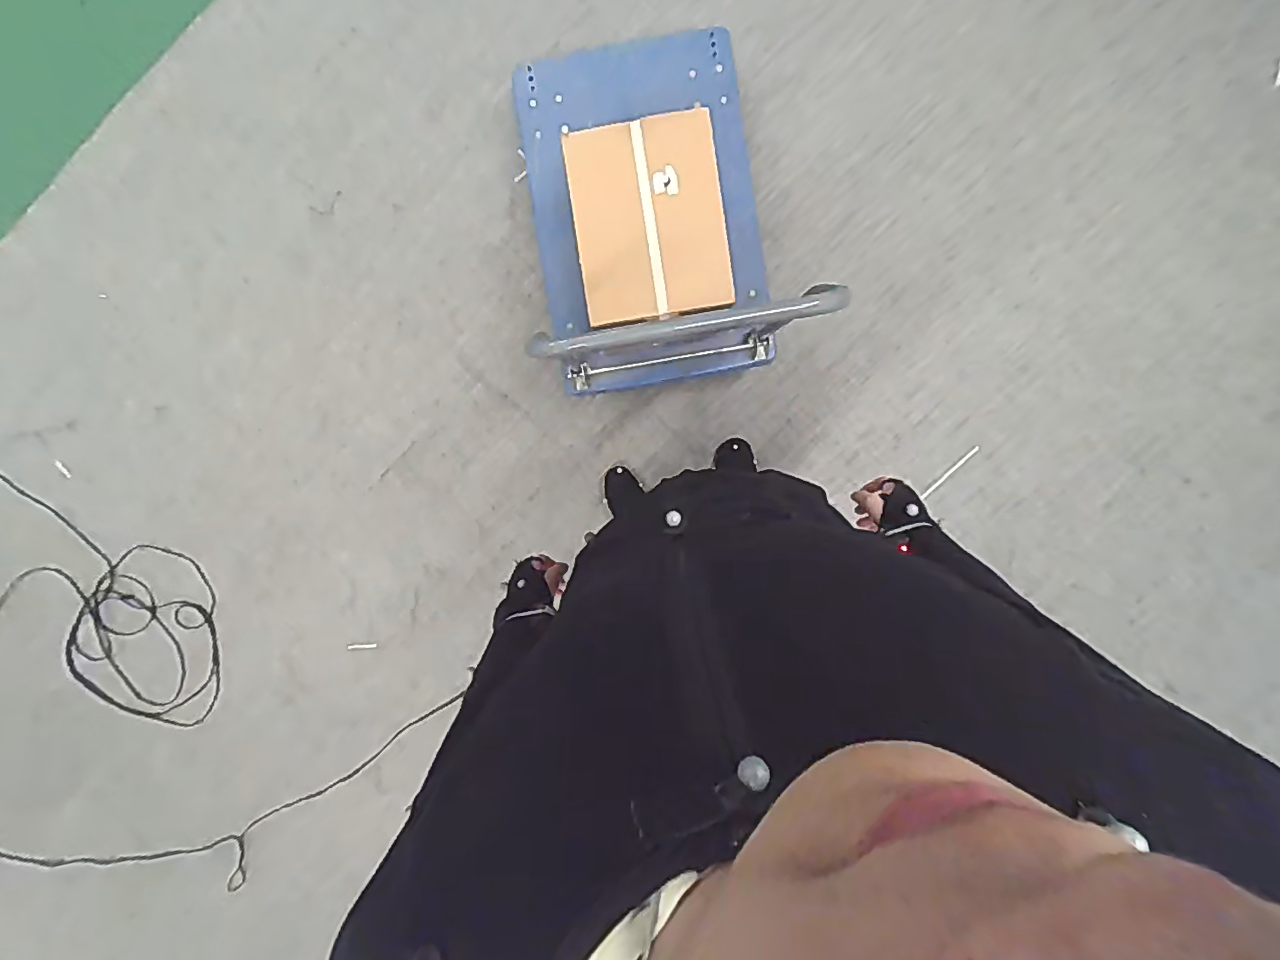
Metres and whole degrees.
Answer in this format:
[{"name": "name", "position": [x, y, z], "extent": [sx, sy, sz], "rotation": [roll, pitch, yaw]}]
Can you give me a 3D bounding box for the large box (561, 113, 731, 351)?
[{"name": "large box", "position": [0.021, -0.558, 1.295], "extent": [0.320, 0.320, 0.408], "rotation": [-8, 92, 2]}]
